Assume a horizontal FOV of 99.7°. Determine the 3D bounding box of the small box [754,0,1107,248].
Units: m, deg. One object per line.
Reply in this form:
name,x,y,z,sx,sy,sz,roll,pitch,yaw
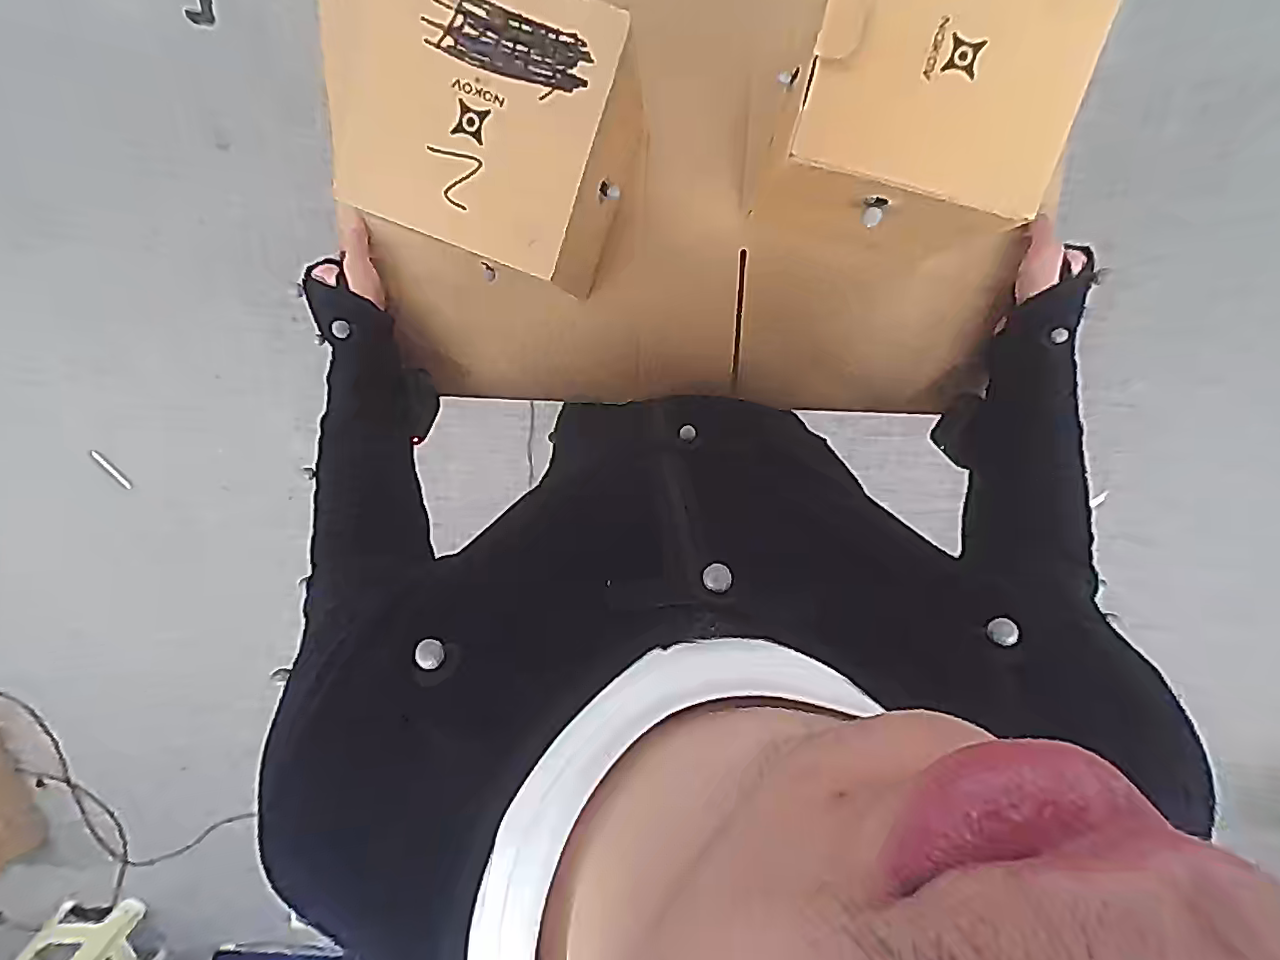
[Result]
small box,0.208,-0.300,0.437,0.179,0.176,0.168,15,103,0
